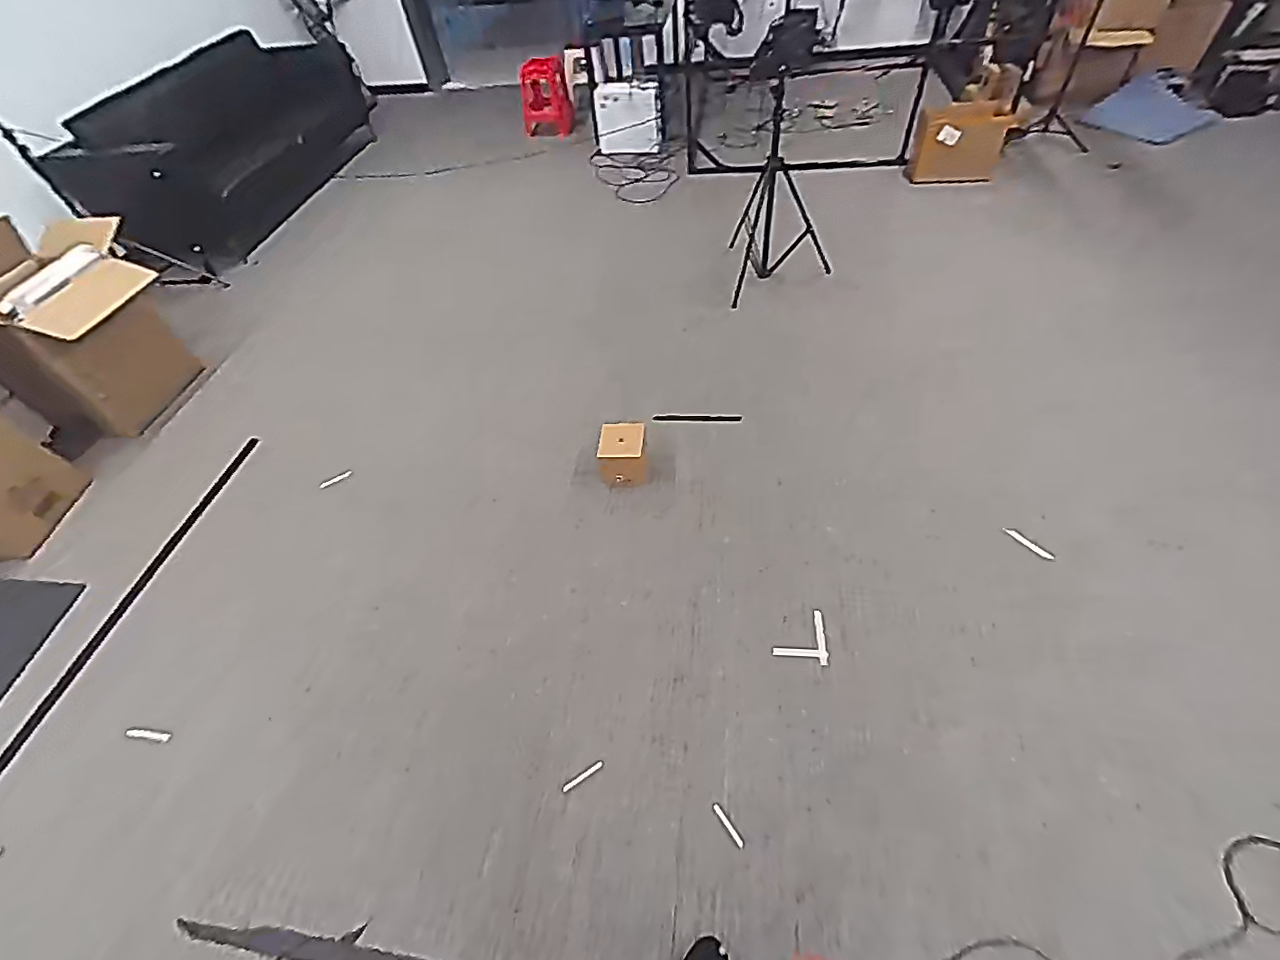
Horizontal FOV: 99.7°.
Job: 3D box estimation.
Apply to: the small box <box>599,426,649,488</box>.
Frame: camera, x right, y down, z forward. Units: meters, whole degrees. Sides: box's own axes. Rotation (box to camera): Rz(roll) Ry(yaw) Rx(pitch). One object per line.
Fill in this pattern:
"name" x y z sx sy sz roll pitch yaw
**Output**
"small box" -0.056 -0.089 2.087 0.168 0.176 0.179 0 51 8
